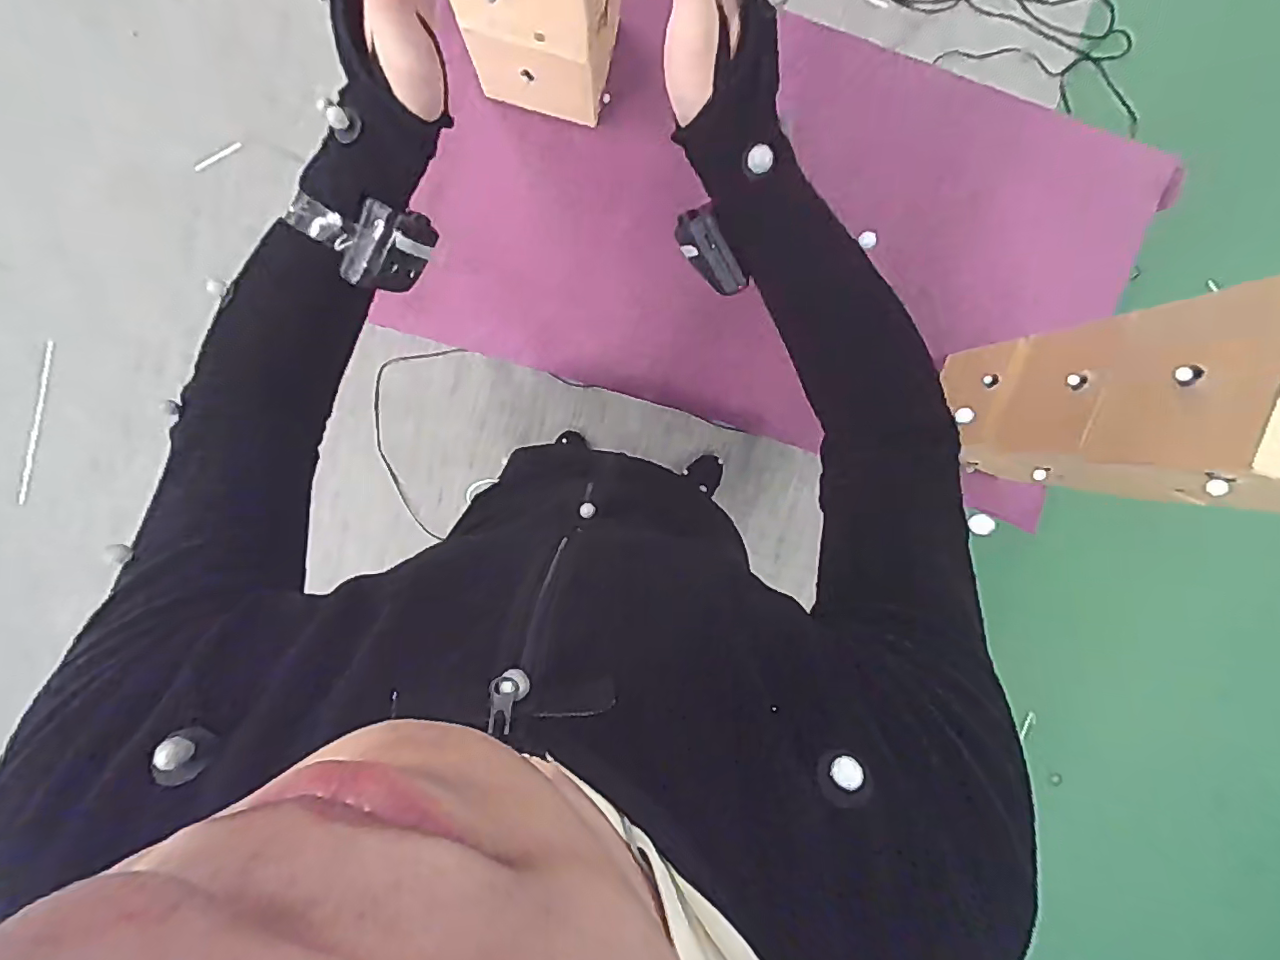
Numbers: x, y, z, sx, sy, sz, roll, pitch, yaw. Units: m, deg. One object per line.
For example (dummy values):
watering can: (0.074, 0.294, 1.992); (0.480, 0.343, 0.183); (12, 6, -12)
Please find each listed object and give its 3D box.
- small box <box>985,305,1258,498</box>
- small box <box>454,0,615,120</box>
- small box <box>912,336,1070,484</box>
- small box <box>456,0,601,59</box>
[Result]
small box: (0.587, -0.094, 0.687); (0.168, 0.176, 0.179); (20, 95, -4)
small box: (-0.133, -0.638, 0.745); (0.179, 0.176, 0.168); (13, 96, -4)
small box: (0.575, -0.107, 0.849); (0.179, 0.176, 0.168); (20, 94, -5)
small box: (-0.120, -0.613, 0.586); (0.168, 0.176, 0.179); (13, 95, -5)
